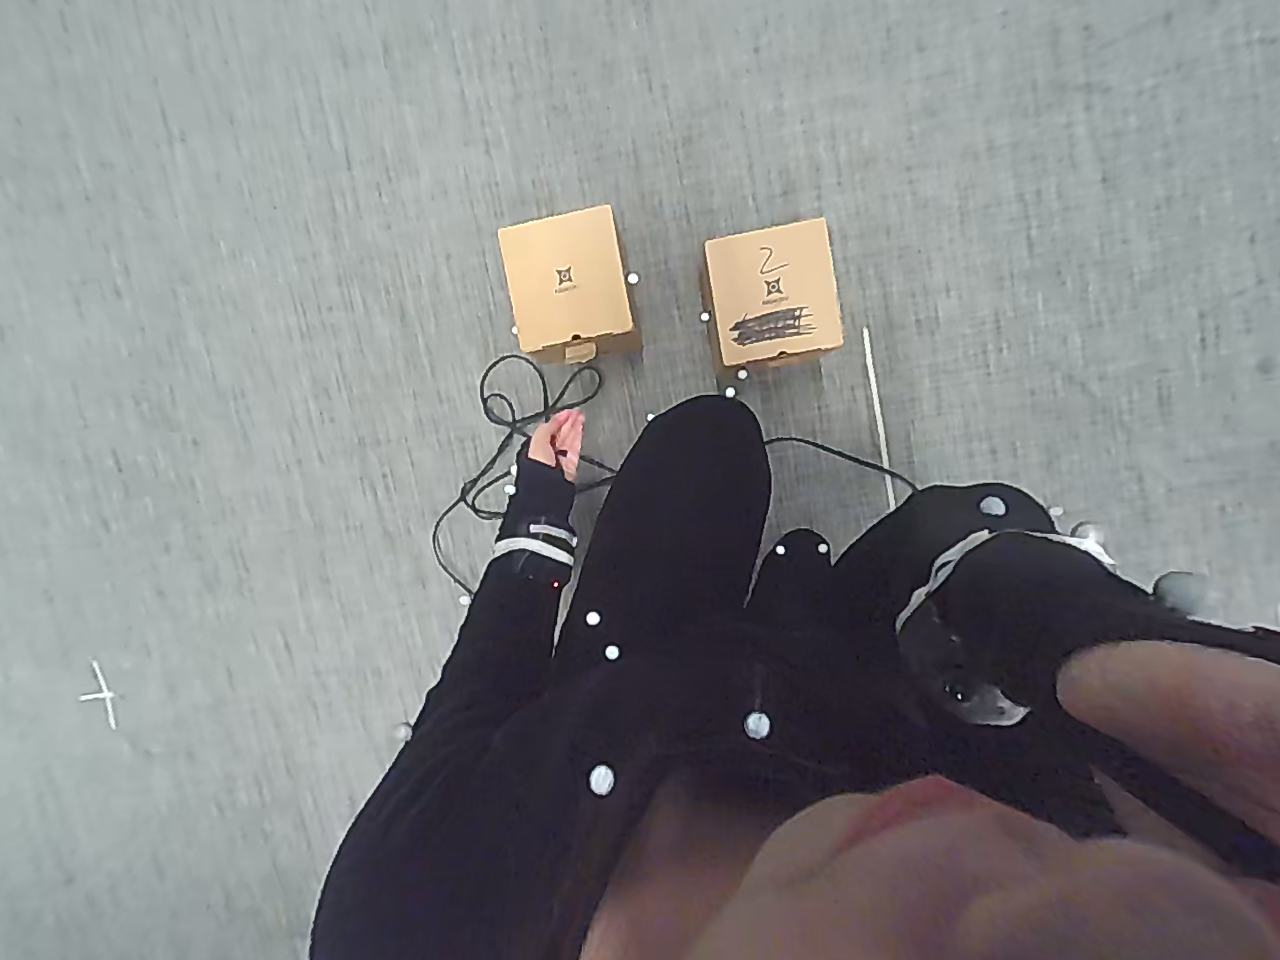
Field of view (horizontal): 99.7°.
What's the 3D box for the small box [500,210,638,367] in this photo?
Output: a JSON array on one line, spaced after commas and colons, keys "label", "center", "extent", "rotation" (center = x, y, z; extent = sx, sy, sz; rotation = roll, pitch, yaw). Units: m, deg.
[{"label": "small box", "center": [-0.100, -0.285, 0.842], "extent": [0.168, 0.176, 0.179], "rotation": [-10, 95, 5]}]
